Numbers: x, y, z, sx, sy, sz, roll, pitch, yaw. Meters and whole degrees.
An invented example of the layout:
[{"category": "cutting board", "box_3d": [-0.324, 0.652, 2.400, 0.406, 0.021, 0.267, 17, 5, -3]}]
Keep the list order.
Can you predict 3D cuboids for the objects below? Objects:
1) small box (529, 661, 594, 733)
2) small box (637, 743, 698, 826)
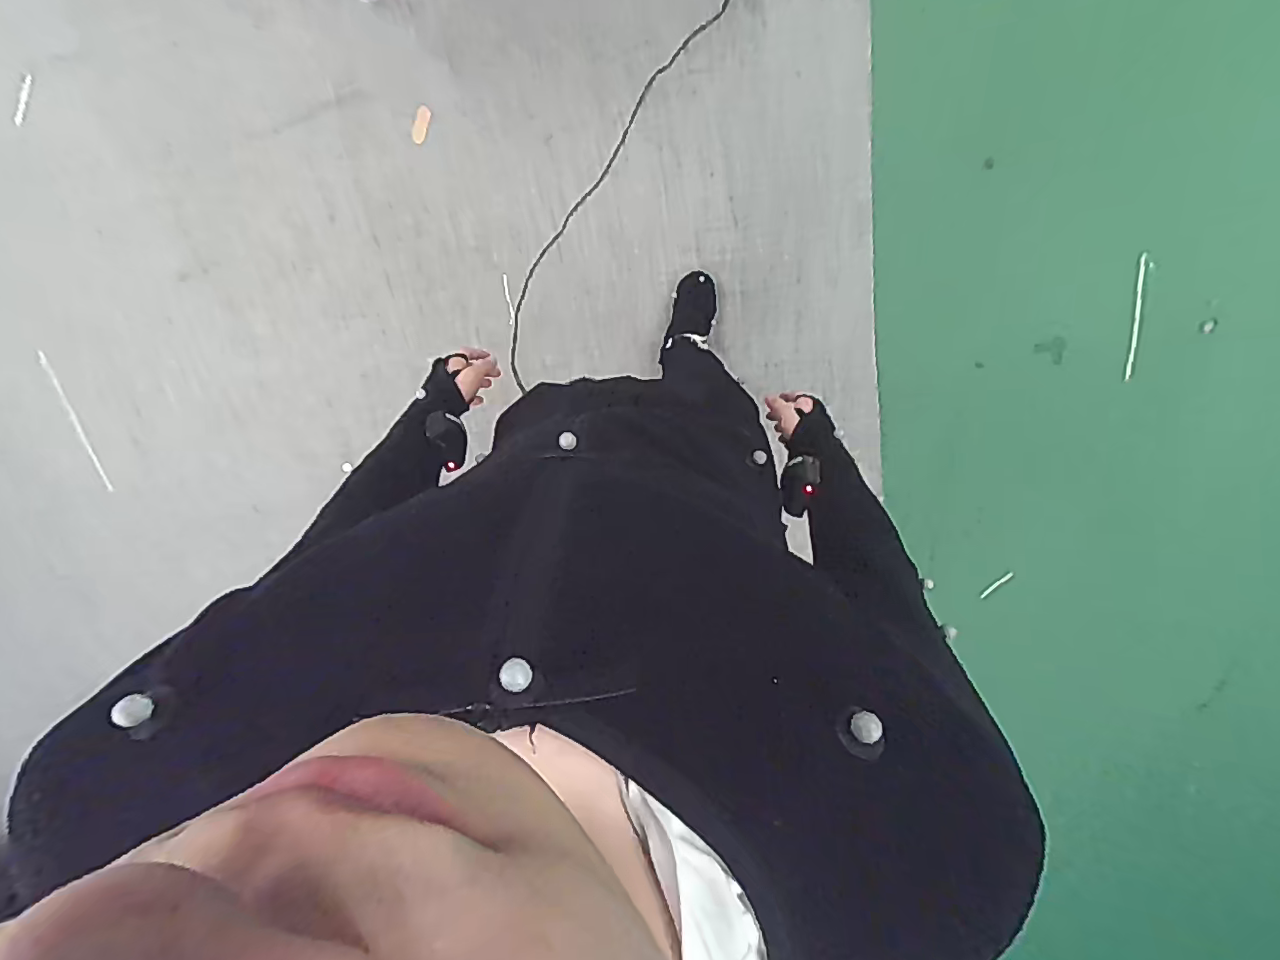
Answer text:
[{"category": "small box", "box_3d": [-0.264, 0.735, 1.846, 0.179, 0.176, 0.168, -3, 109, 6]}, {"category": "small box", "box_3d": [0.091, 0.963, 1.719, 0.179, 0.176, 0.168, -5, 108, 6]}]
